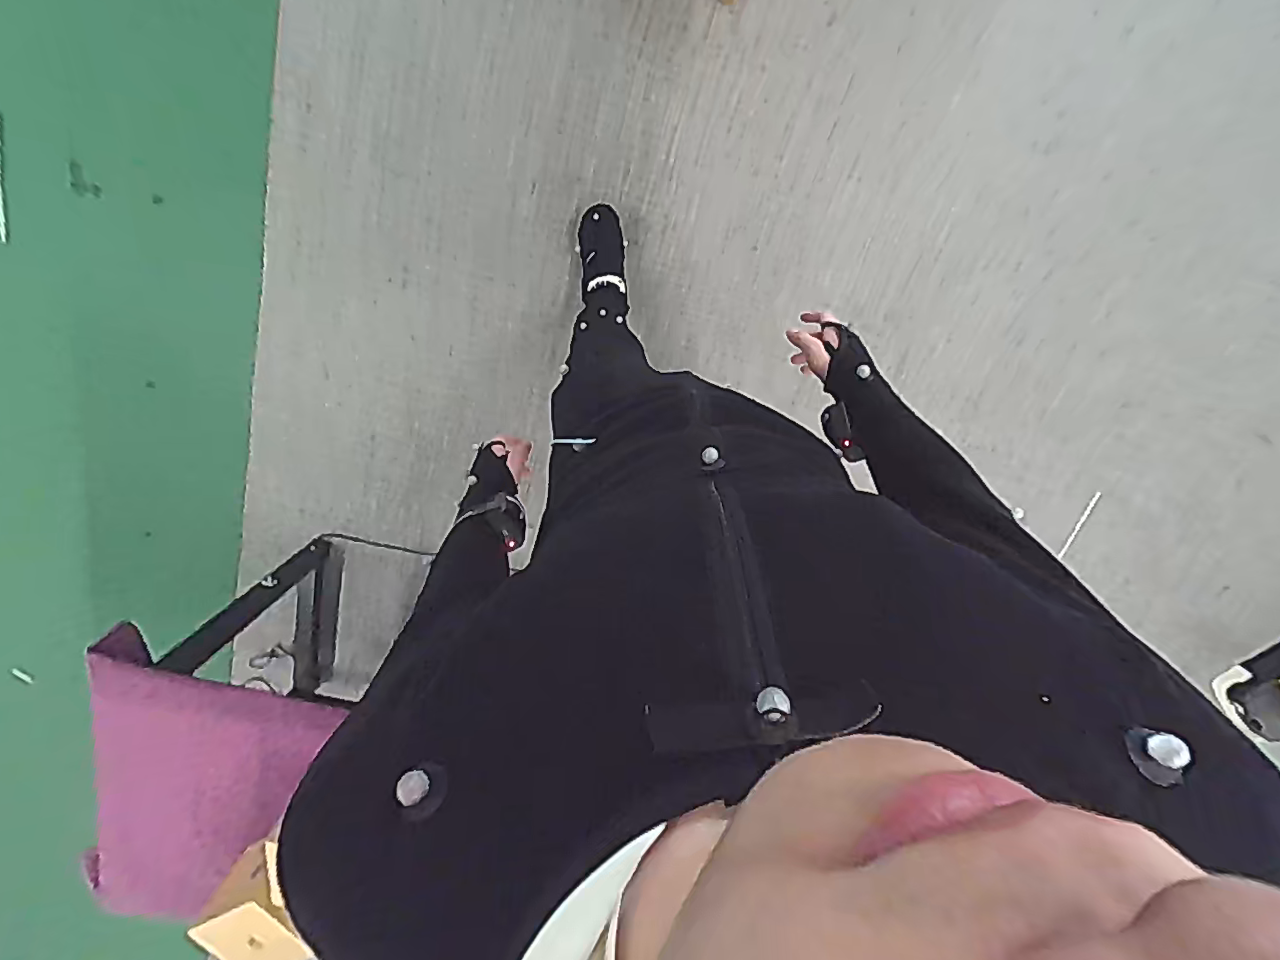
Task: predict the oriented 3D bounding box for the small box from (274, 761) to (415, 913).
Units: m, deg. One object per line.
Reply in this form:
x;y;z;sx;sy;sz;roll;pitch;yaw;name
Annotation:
-0.547;0.665;1.021;0.179;0.176;0.168;9;111;-3;small box

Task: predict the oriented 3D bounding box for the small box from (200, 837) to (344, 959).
-0.703;0.828;1.084;0.168;0.176;0.179;-30;107;10;small box
